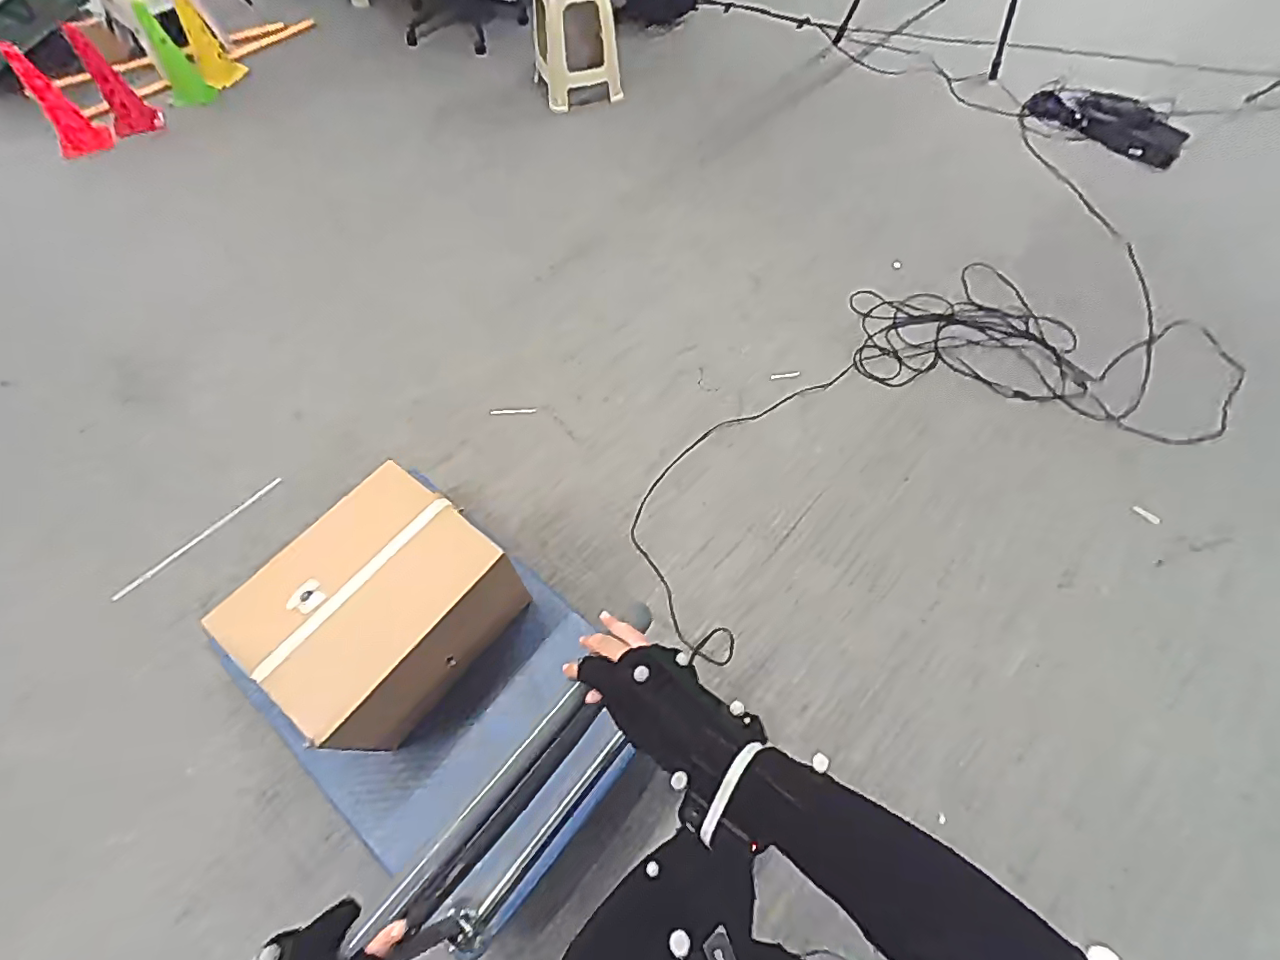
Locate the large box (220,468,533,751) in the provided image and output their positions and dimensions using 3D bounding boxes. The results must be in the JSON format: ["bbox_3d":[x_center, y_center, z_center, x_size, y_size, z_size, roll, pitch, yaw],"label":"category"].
[{"bbox_3d":[-0.472,0.261,1.073,0.320,0.320,0.408,34,67,16],"label":"large box"}]
